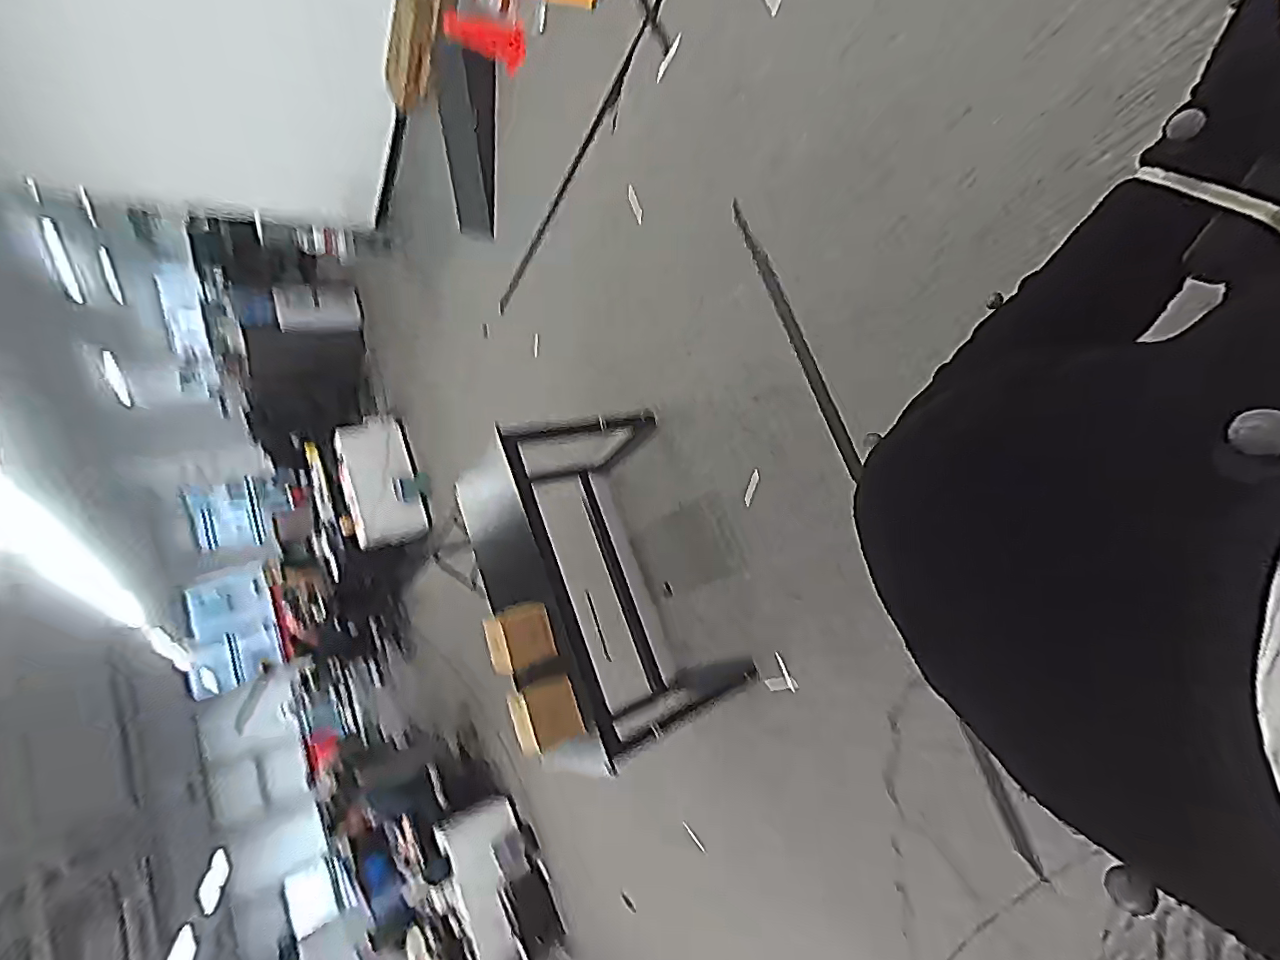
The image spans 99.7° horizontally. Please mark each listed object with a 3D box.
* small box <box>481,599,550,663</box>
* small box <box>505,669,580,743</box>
[{"bbox_3d":[-0.422,0.512,1.859,0.179,0.176,0.168,-17,85,53],"label":"small box"},{"bbox_3d":[-0.322,0.748,1.797,0.168,0.176,0.179,-33,74,51],"label":"small box"}]
